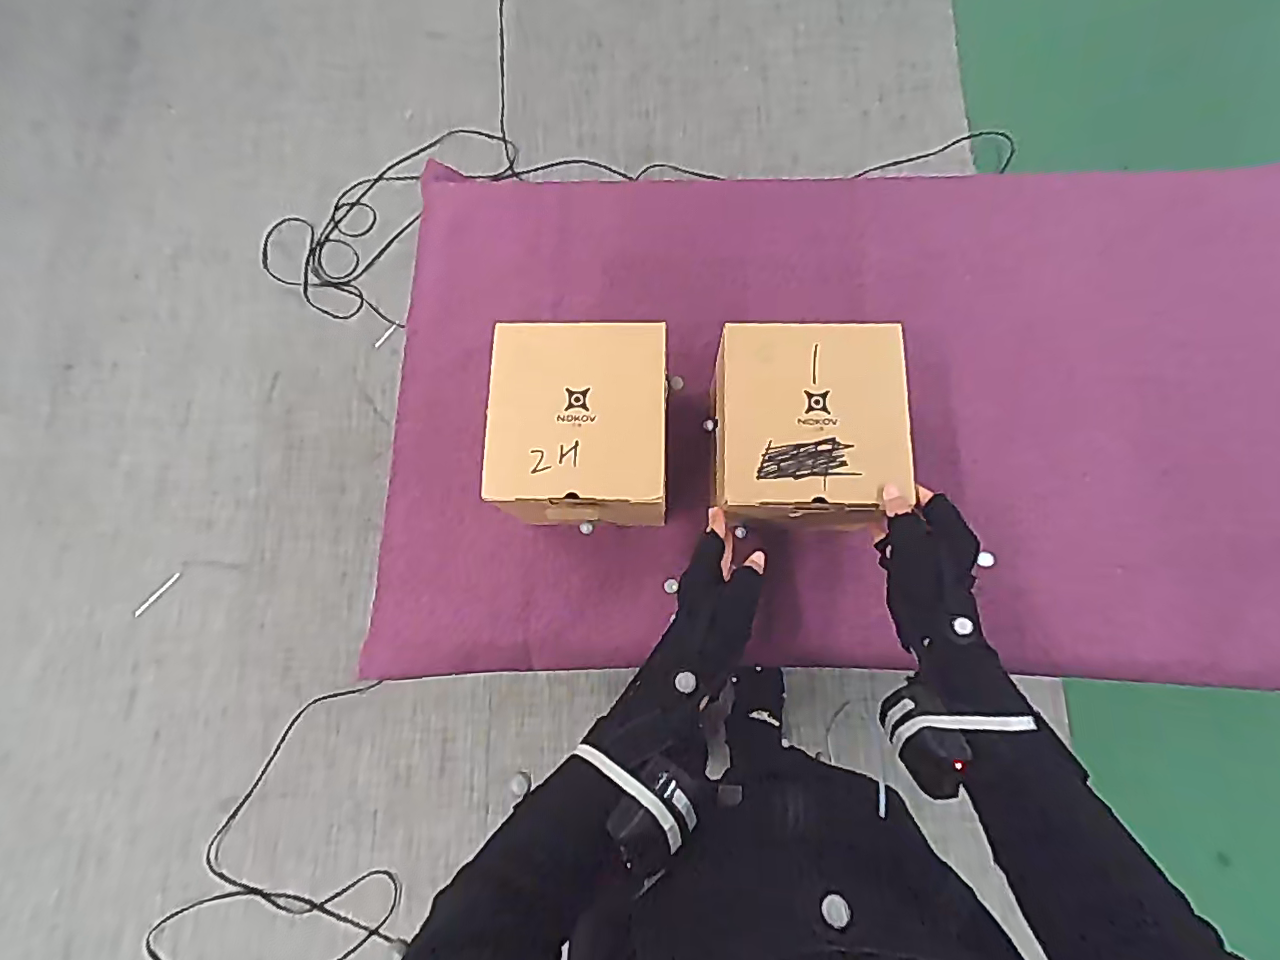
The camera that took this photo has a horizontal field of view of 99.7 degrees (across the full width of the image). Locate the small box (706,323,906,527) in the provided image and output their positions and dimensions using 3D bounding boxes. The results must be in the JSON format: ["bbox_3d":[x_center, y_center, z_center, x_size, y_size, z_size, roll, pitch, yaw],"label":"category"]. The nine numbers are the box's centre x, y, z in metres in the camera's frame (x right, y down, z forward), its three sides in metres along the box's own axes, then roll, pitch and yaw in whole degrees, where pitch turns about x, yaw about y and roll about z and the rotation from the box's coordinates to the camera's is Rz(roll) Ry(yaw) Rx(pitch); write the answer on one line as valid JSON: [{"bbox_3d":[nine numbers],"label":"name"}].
[{"bbox_3d":[0.159,-0.046,0.570,0.168,0.176,0.179,1,77,3],"label":"small box"}]

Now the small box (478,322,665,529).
[{"bbox_3d":[-0.058,-0.048,0.580,0.168,0.176,0.179,2,78,4],"label":"small box"}]
